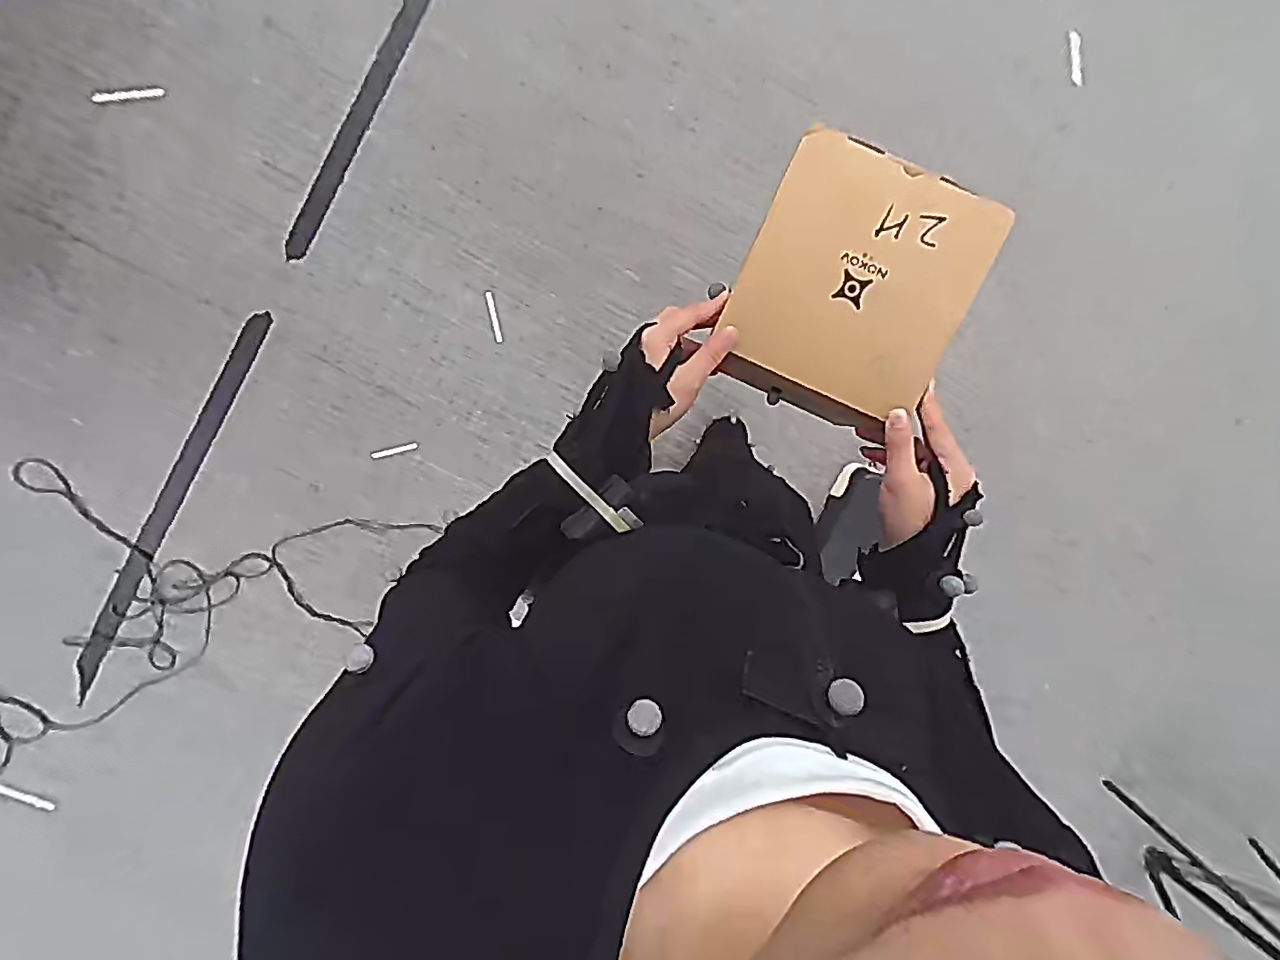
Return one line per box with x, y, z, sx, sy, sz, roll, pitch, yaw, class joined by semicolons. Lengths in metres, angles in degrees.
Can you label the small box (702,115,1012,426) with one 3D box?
0.163;-0.159;0.474;0.168;0.176;0.179;24;97;0;small box
